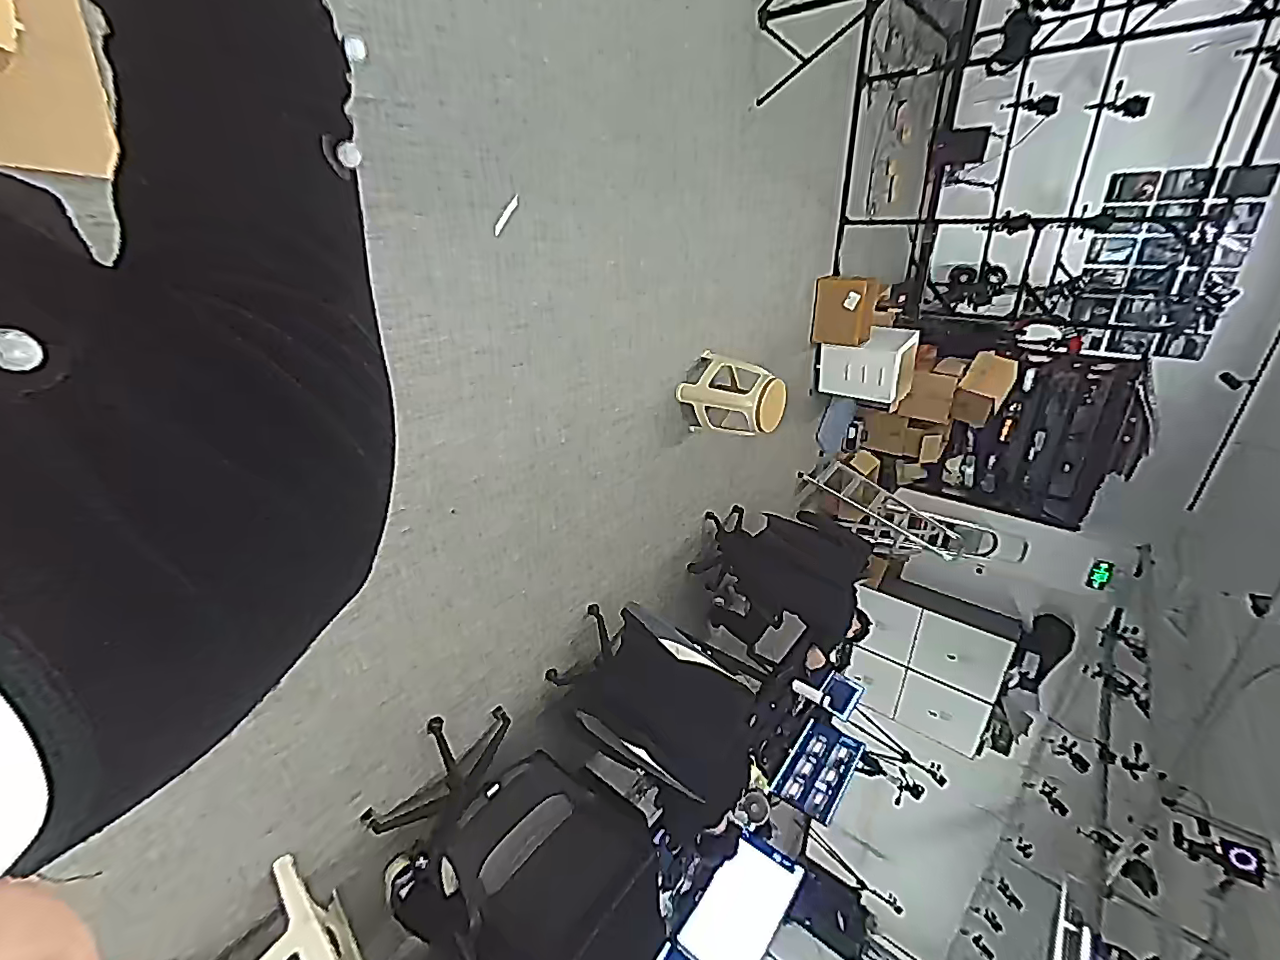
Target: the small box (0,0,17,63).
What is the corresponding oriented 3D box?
[{"bbox_3d":[-1.099,-0.775,0.826,0.179,0.176,0.168,-4,108,-52],"label":"small box"}]
